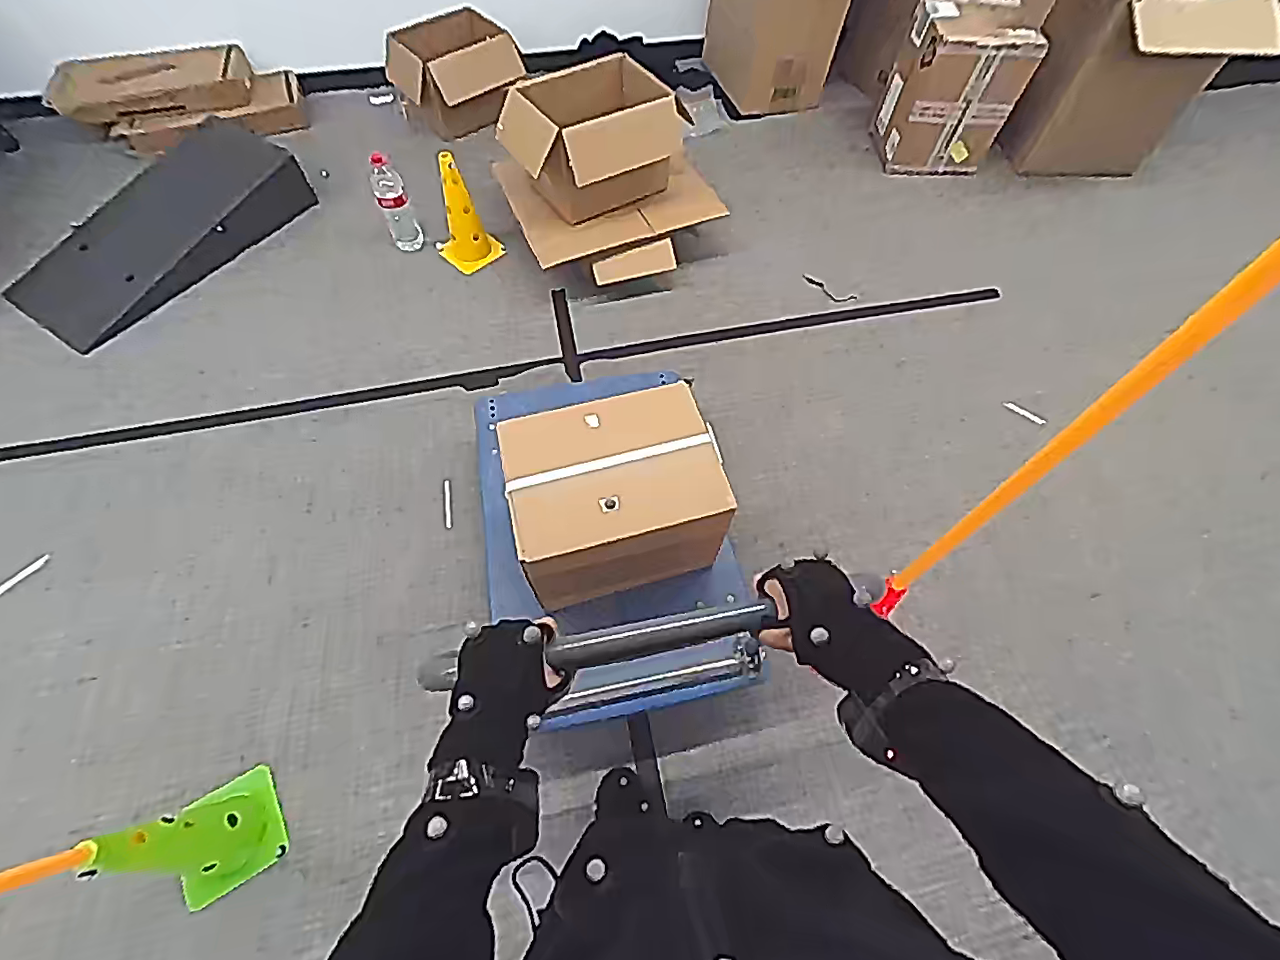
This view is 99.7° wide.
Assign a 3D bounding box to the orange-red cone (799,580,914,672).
[{"bbox_3d":[0.517,0.297,1.216,0.199,0.360,0.198,-4,62,-5],"label":"orange-red cone"}]
